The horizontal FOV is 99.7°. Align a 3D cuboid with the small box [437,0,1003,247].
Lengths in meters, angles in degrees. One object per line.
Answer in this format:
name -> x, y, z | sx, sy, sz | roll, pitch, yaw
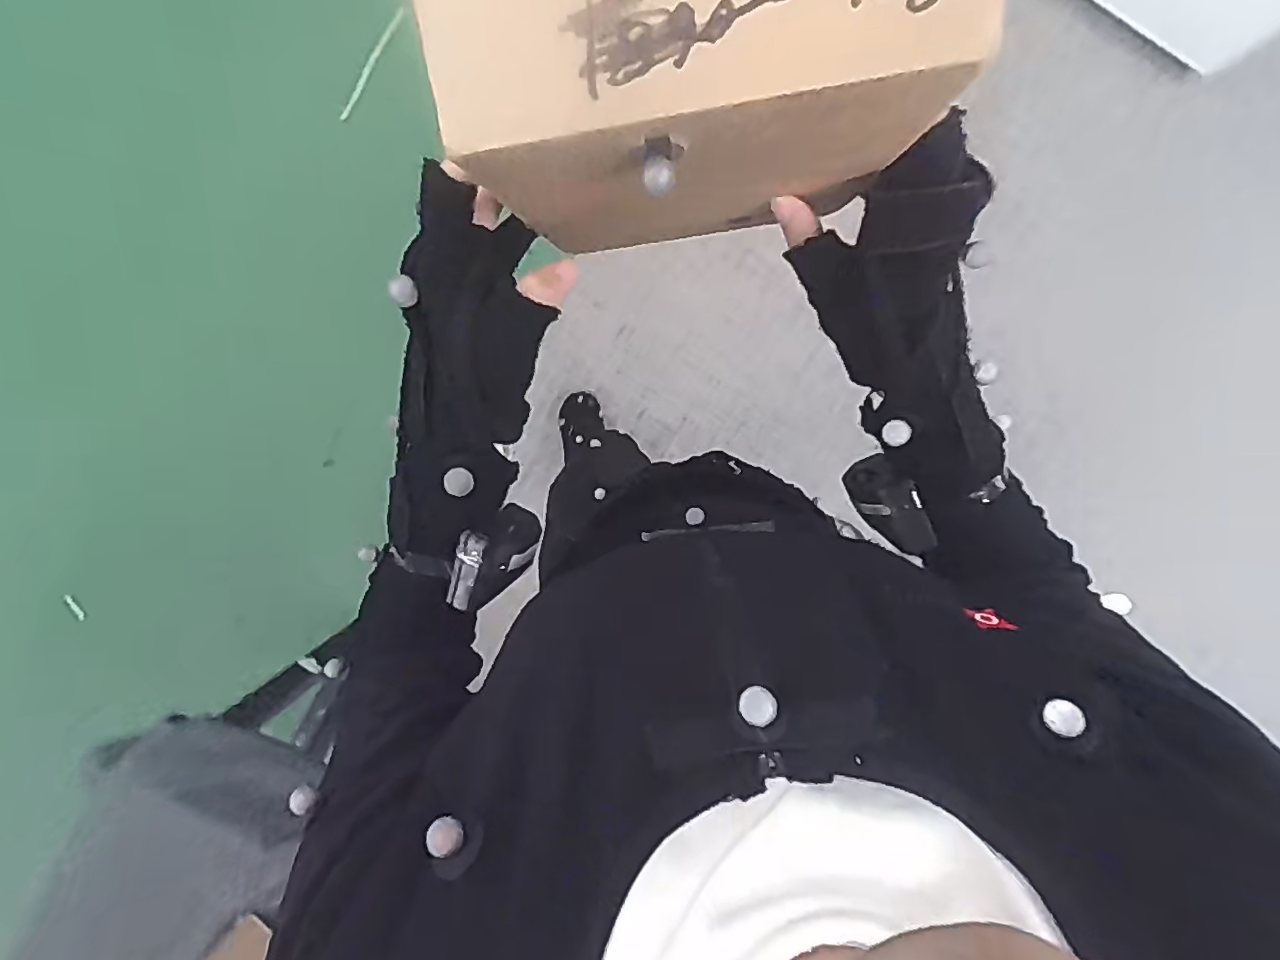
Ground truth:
small box -> 0.022, -0.215, 0.226 | 0.168, 0.176, 0.179 | -5, 102, 7
